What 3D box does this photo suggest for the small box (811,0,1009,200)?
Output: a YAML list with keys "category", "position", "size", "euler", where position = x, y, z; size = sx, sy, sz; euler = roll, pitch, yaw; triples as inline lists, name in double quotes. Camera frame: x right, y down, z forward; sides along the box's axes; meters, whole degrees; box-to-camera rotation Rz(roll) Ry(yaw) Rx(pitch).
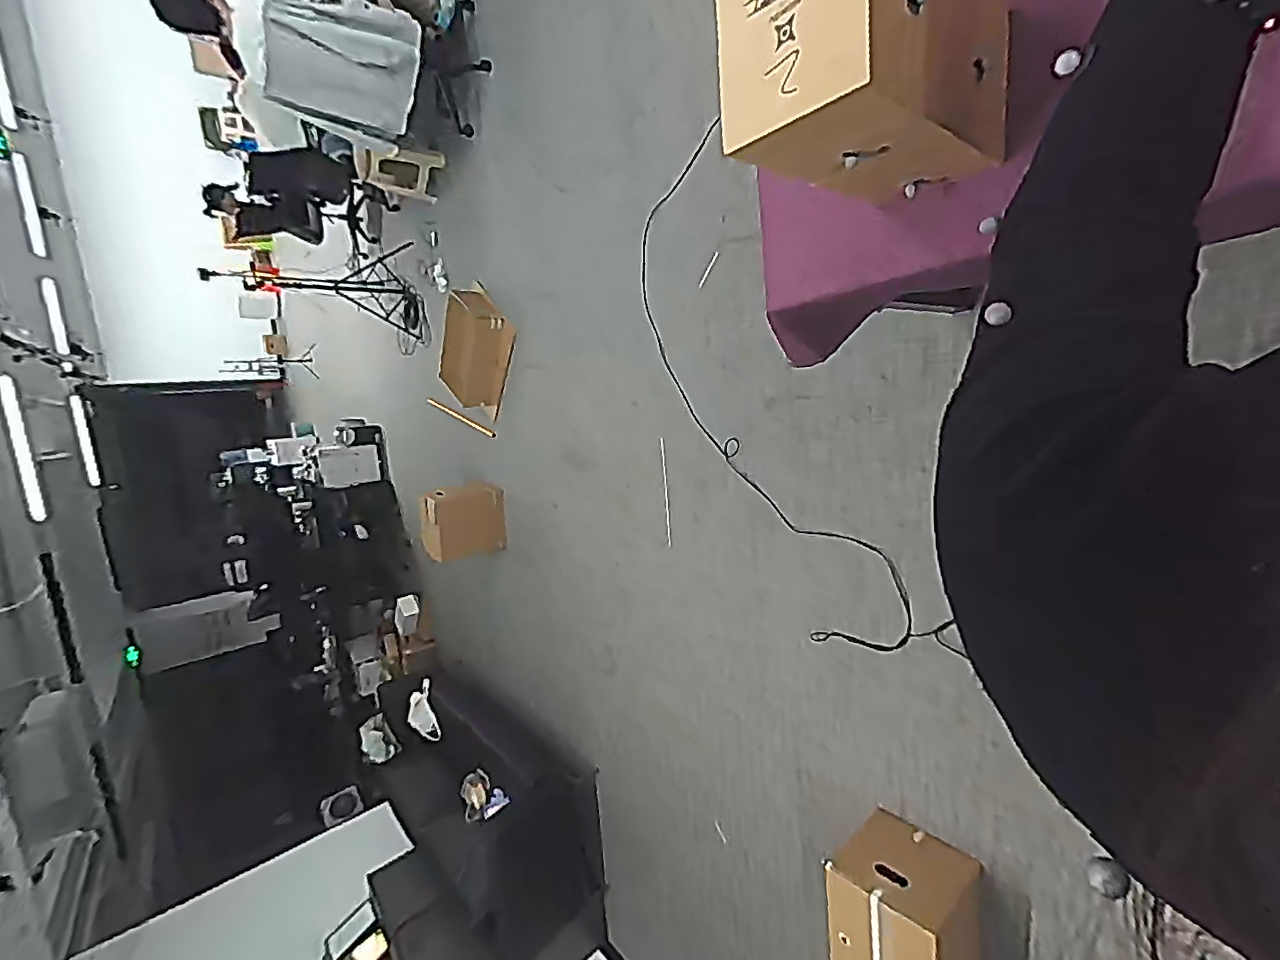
- category: "small box"
  position: [0.327, -0.467, 0.657]
  size: [0.168, 0.176, 0.179]
  euler: [7, 106, 50]
